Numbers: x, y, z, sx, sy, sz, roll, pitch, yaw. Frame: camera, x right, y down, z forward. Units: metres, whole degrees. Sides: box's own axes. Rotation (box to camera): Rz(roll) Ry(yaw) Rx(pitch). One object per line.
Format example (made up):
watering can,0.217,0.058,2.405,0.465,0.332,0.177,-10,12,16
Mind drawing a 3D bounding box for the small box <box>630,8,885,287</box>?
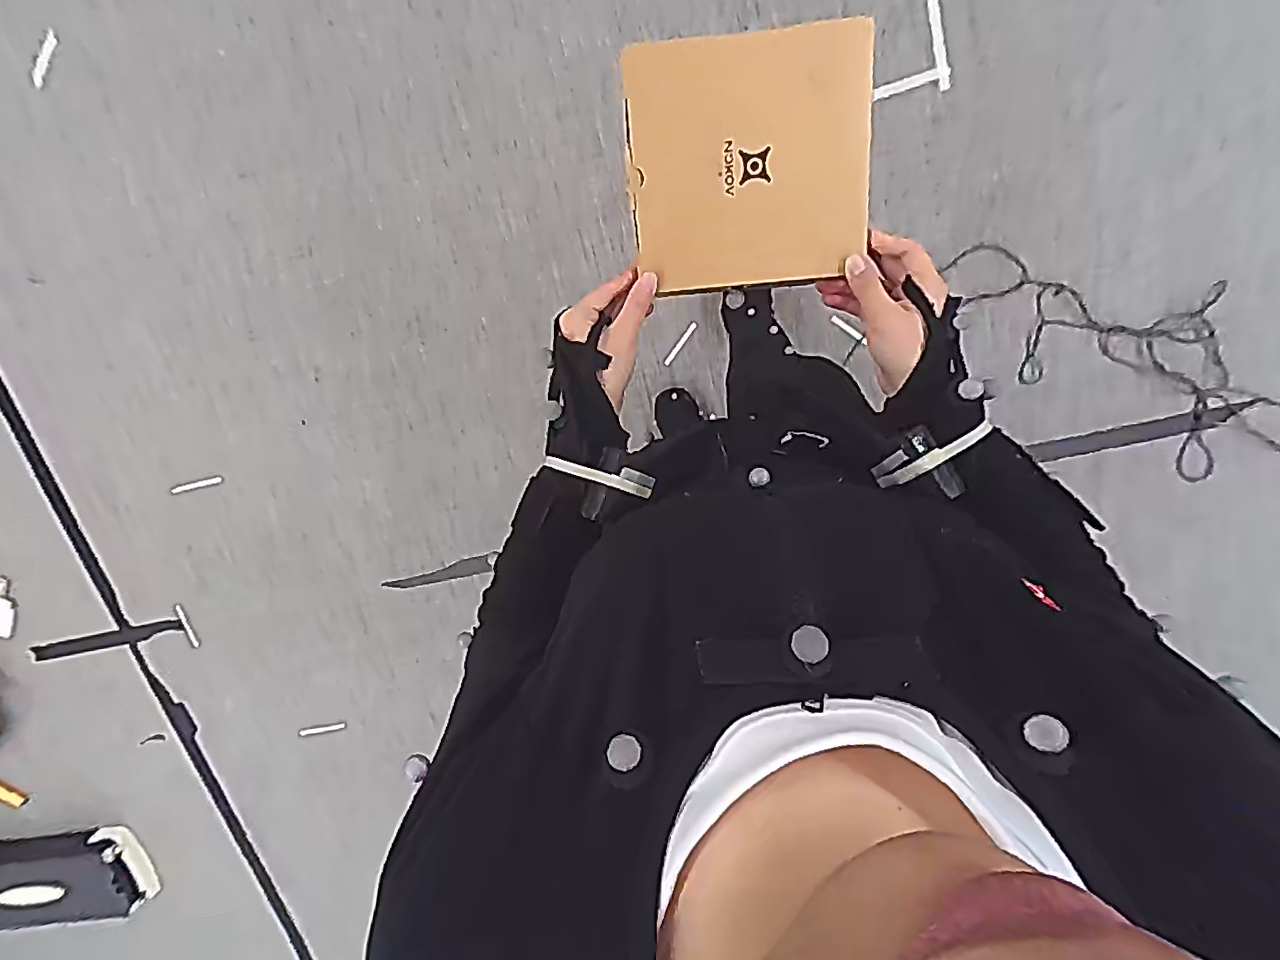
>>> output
small box,0.087,-0.261,0.468,0.179,0.176,0.168,-3,108,5
